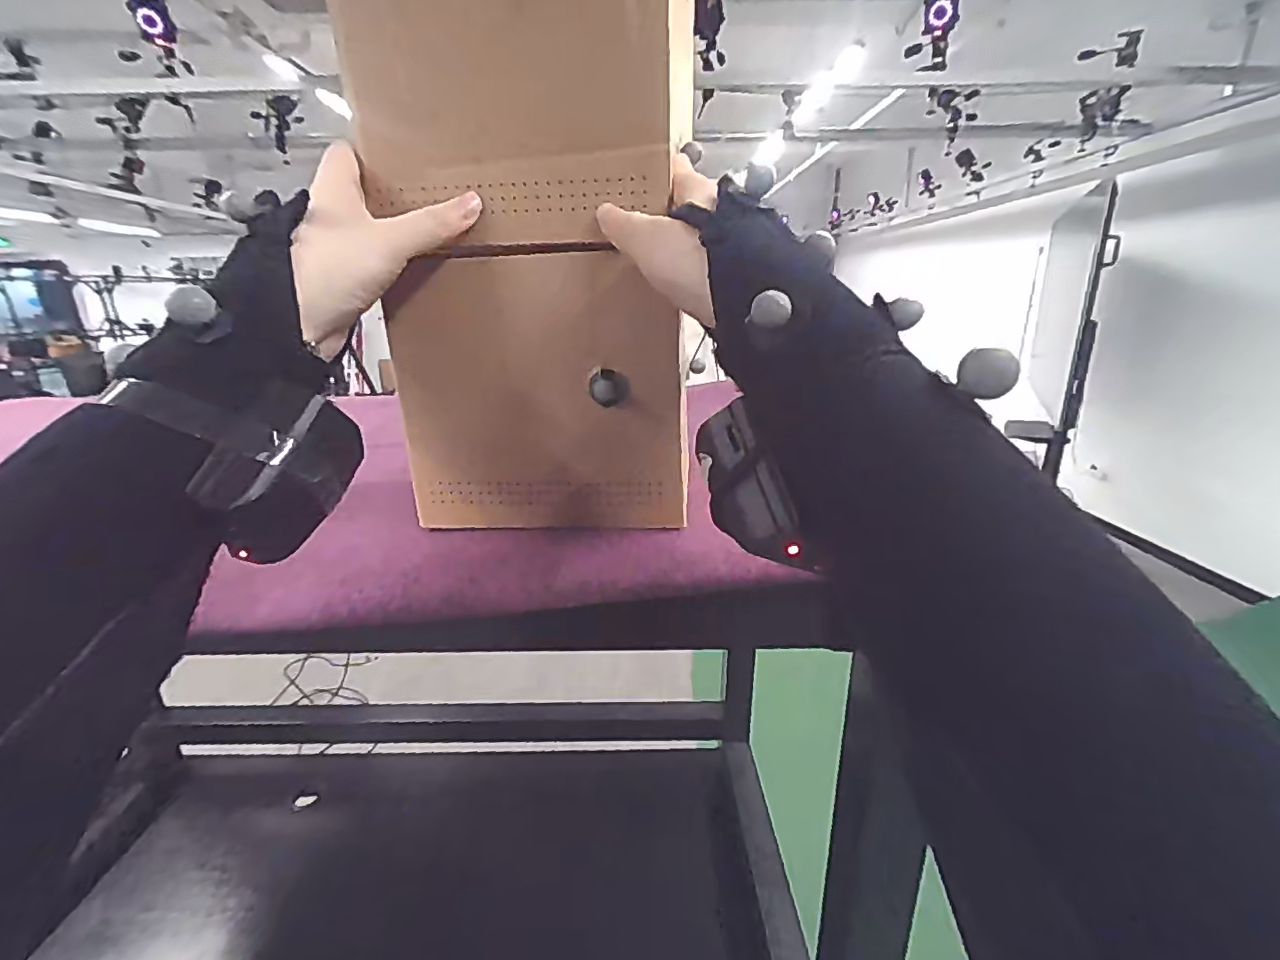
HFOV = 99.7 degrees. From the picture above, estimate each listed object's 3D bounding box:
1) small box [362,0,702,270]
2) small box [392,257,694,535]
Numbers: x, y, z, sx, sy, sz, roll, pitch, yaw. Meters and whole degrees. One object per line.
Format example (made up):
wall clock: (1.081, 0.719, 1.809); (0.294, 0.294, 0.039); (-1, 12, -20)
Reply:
small box: (-0.053, -0.225, 0.348); (0.179, 0.176, 0.168); (3, 21, 7)
small box: (-0.048, -0.064, 0.404); (0.179, 0.176, 0.168); (-2, 15, 6)
